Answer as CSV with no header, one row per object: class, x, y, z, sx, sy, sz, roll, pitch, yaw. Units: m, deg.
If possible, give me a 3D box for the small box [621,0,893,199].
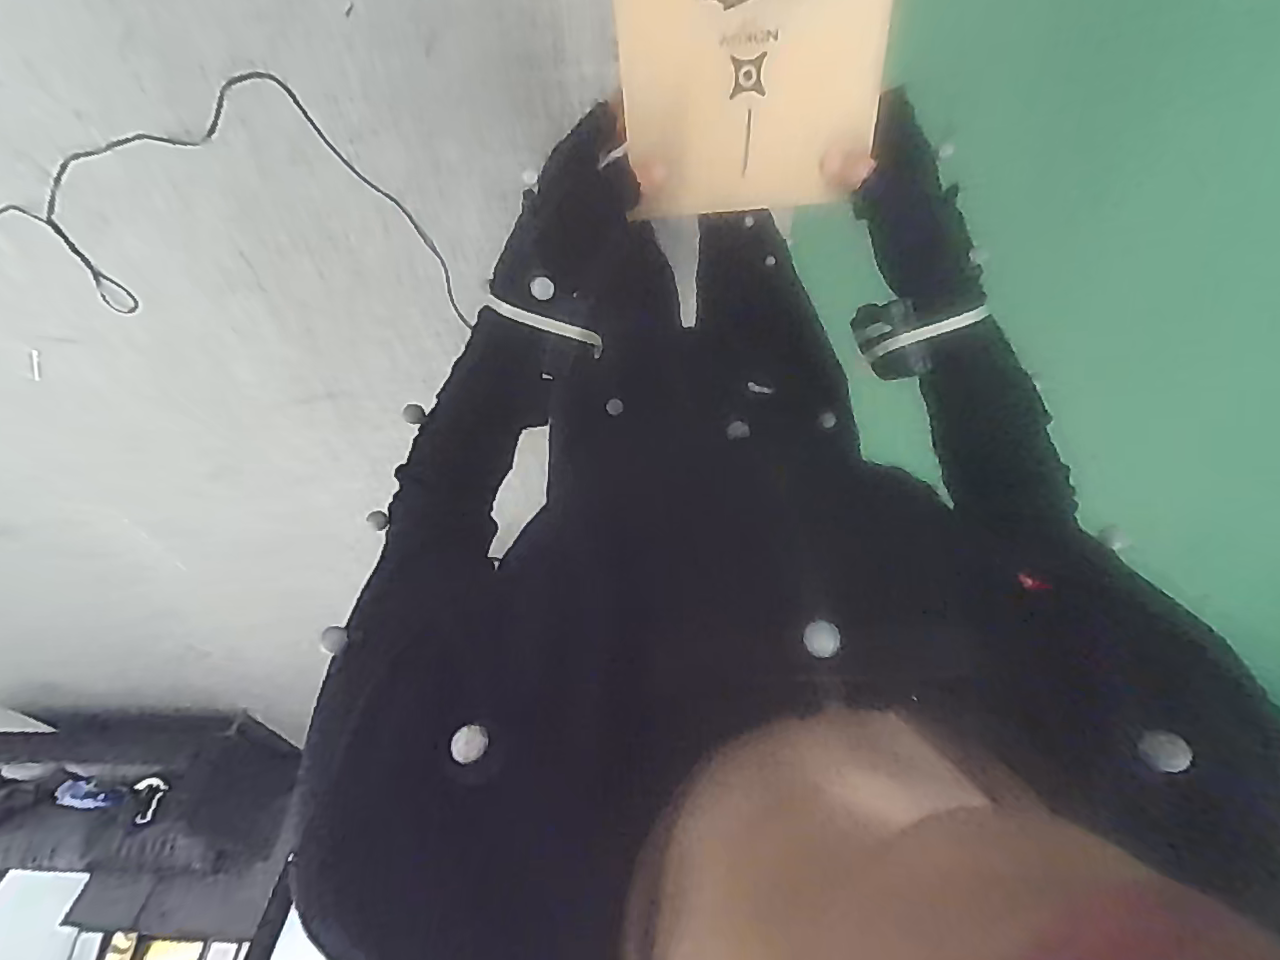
small box,0.076,-0.323,0.398,0.168,0.176,0.179,-1,128,7
